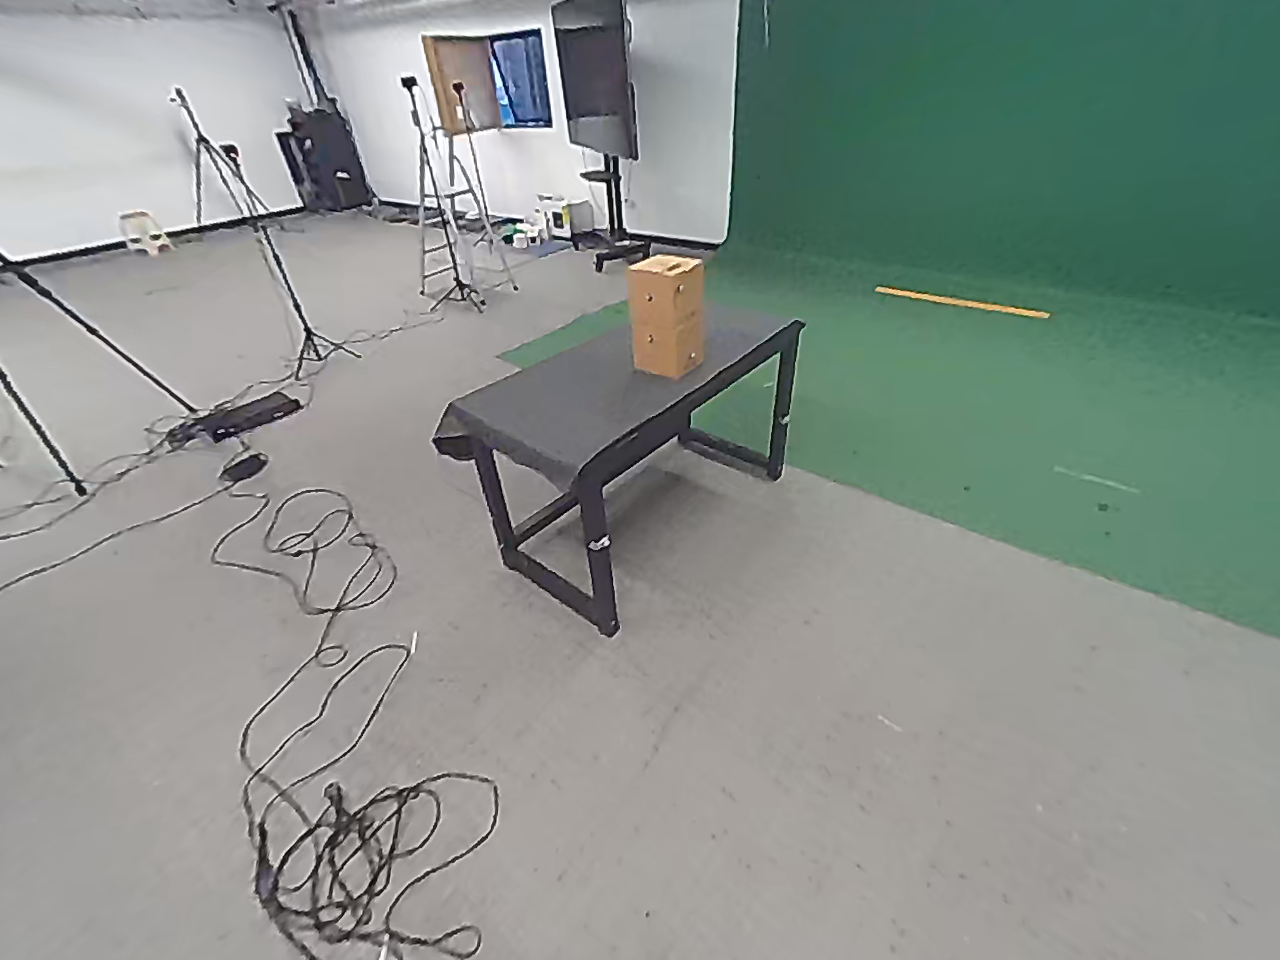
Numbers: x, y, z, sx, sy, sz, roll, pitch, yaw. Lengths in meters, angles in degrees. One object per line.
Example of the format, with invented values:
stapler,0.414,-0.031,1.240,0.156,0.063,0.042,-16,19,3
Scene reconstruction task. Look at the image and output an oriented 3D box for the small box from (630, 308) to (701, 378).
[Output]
small box,0.085,-0.455,1.793,0.179,0.176,0.168,21,43,30
